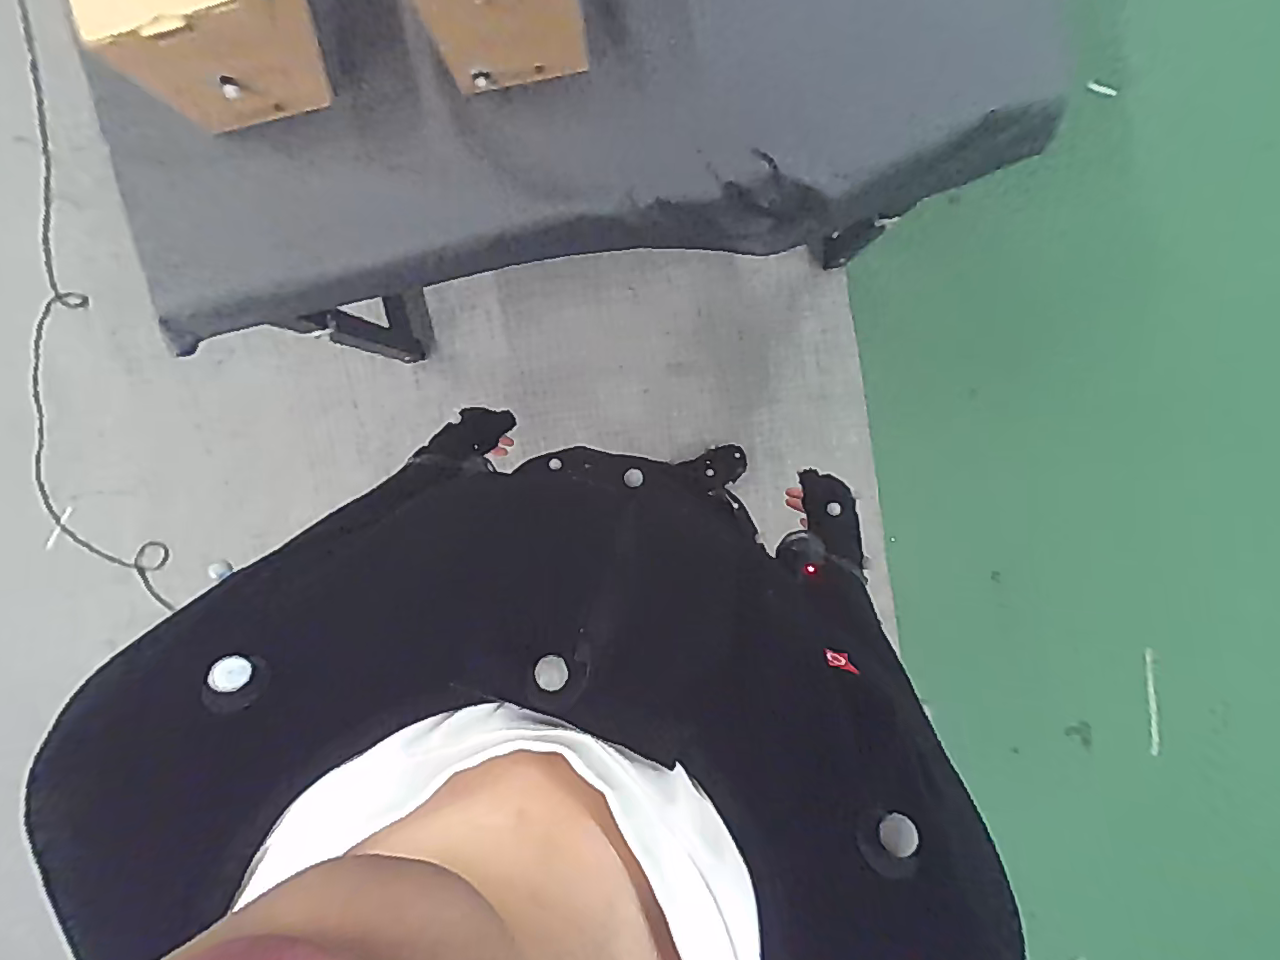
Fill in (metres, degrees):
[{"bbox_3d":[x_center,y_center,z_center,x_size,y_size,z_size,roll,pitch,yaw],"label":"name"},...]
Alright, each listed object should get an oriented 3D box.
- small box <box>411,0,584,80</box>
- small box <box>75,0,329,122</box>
[{"bbox_3d":[-0.164,-0.588,0.603,0.168,0.176,0.179,-10,94,2],"label":"small box"},{"bbox_3d":[-0.493,-0.544,0.613,0.168,0.176,0.179,-13,96,2],"label":"small box"}]
